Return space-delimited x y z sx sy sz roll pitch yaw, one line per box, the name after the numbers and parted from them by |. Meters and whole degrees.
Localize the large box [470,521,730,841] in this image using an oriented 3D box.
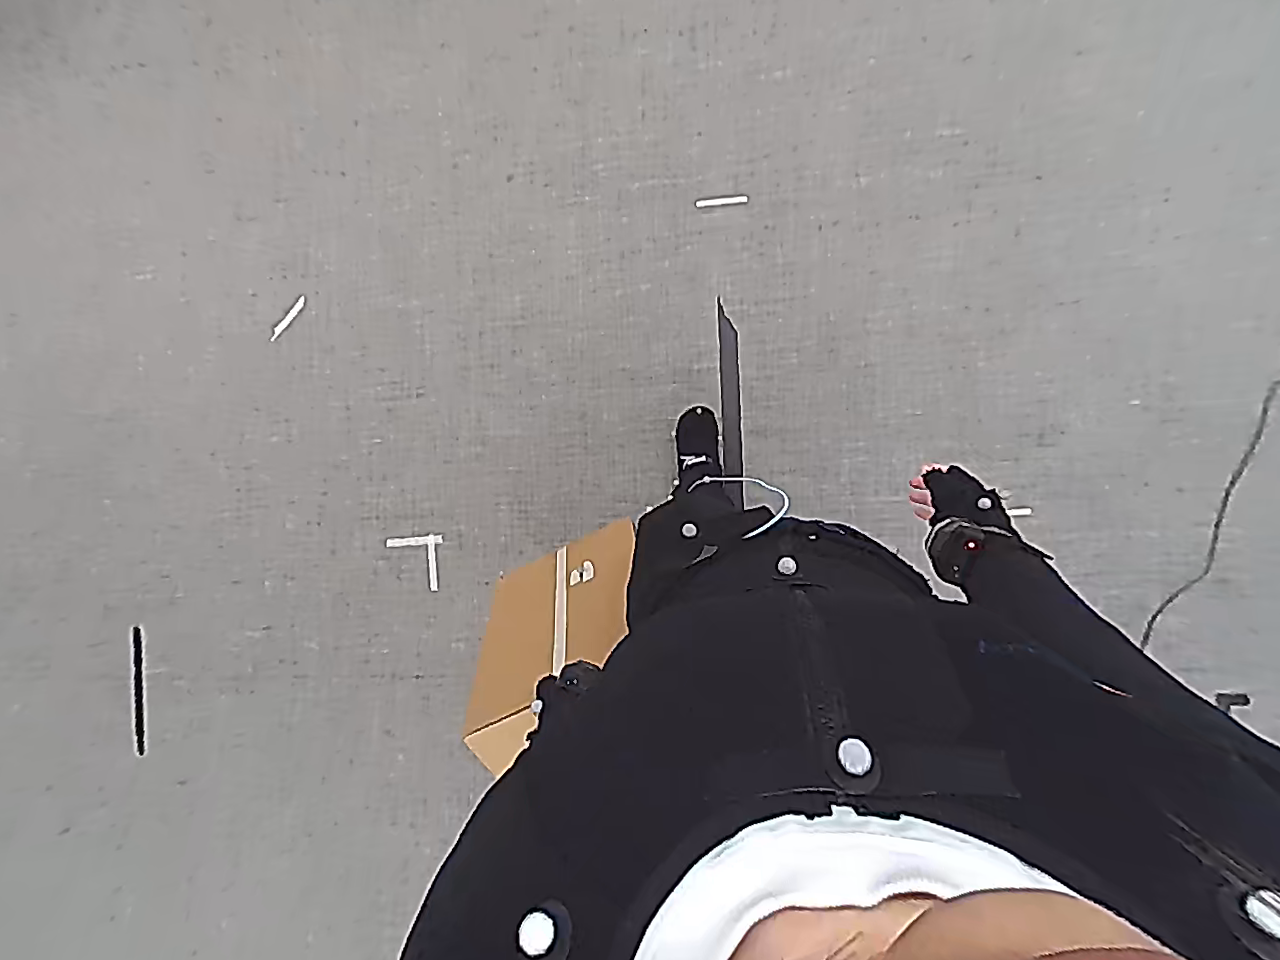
-0.069 0.345 1.009 0.320 0.408 0.320 -25 112 5 | large box
